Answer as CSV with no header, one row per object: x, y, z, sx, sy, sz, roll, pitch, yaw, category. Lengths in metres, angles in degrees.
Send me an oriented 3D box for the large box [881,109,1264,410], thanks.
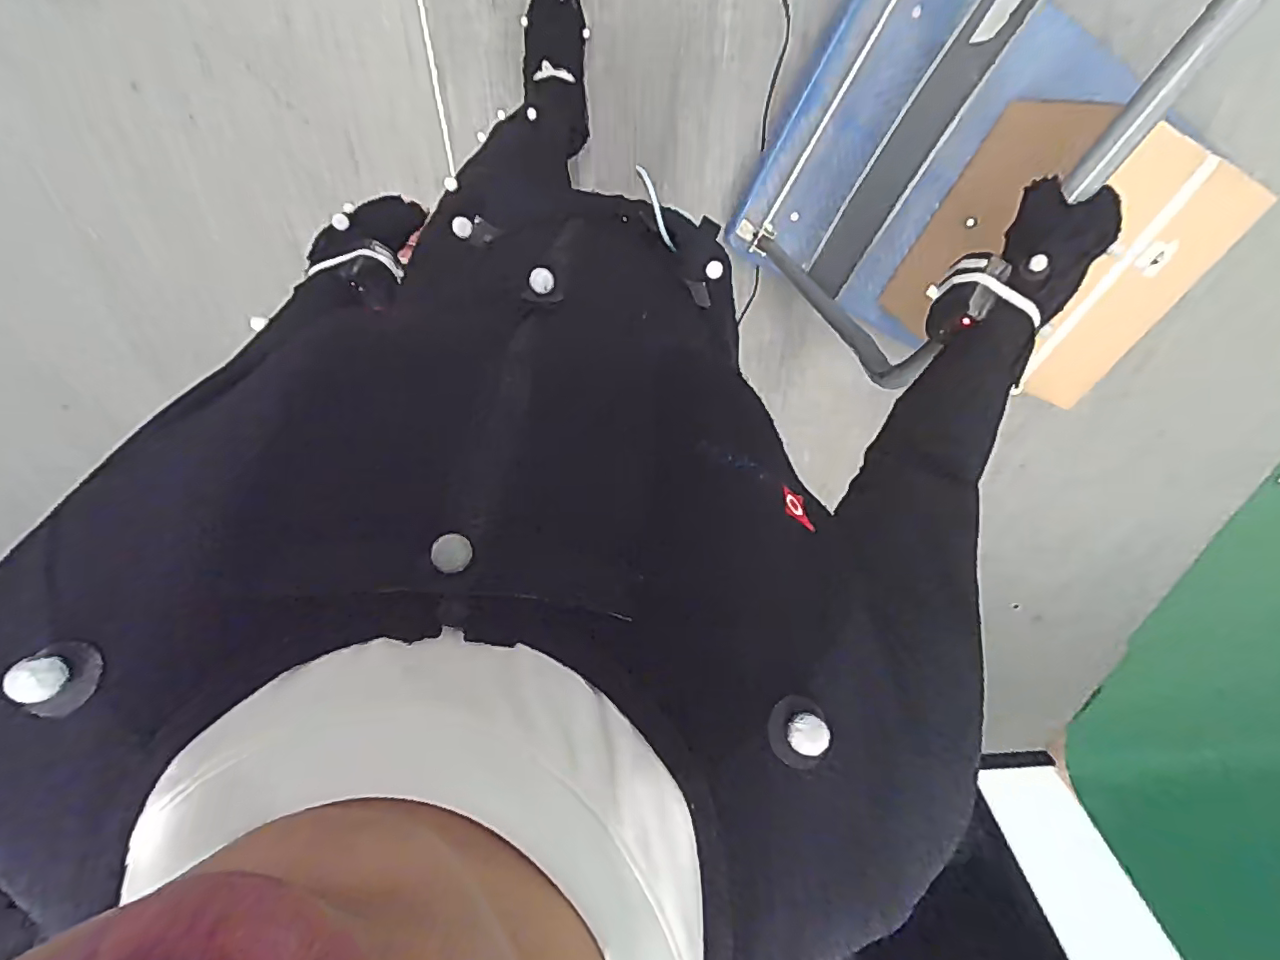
0.749,-0.412,1.023,0.320,0.320,0.408,17,123,-16,large box
